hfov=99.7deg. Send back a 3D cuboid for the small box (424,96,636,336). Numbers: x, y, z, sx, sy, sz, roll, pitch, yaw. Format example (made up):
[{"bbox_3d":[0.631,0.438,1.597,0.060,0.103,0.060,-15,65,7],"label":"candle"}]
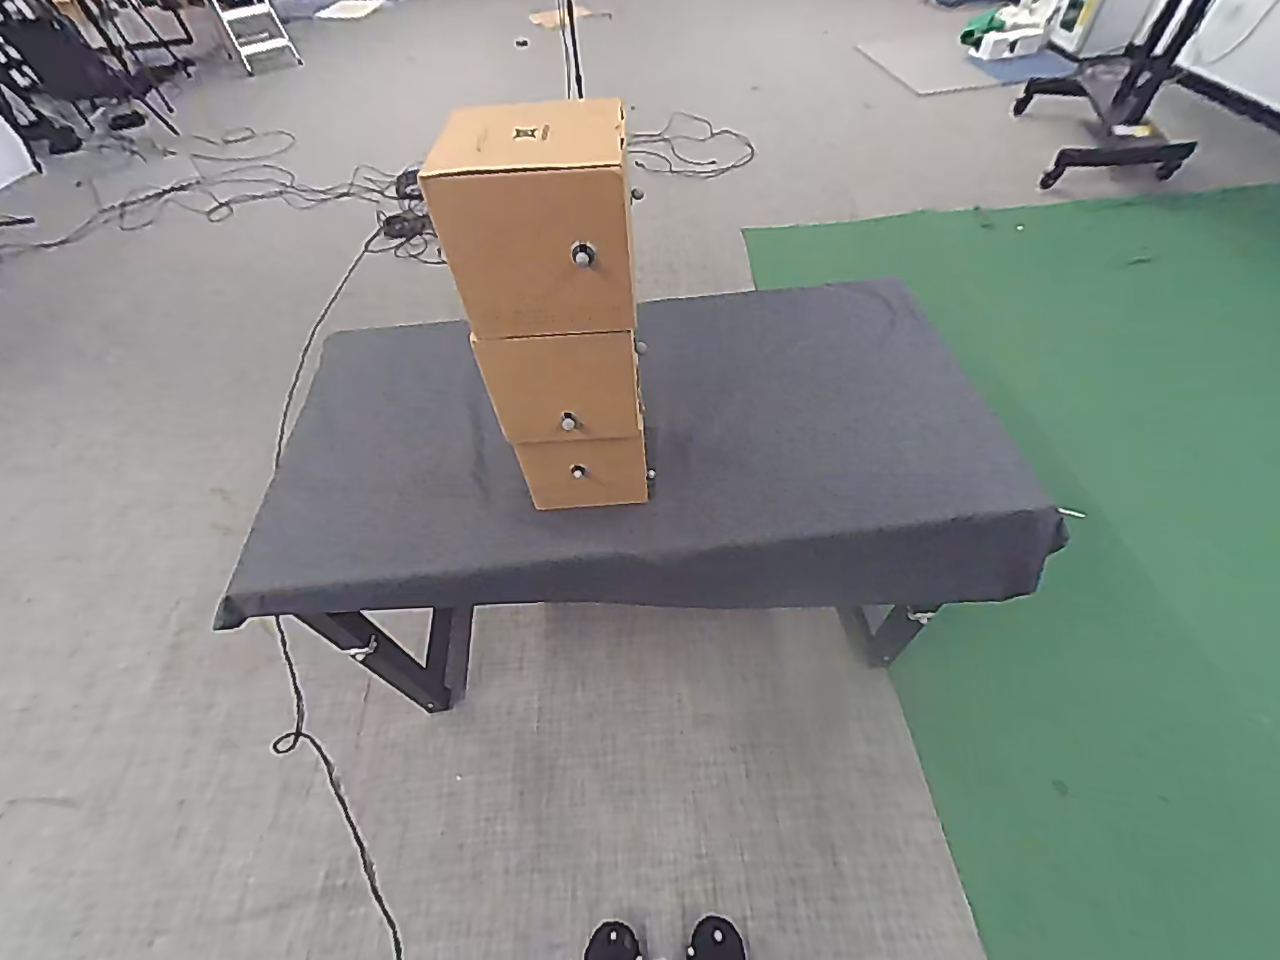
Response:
[{"bbox_3d":[-0.094,-0.269,0.565,0.179,0.176,0.168,-4,51,2],"label":"small box"}]

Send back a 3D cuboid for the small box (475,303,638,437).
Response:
[{"bbox_3d":[-0.092,-0.171,0.695,0.179,0.176,0.168,-3,52,1],"label":"small box"}]

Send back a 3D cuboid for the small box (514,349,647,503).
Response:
[{"bbox_3d":[-0.080,-0.079,0.829,0.179,0.176,0.168,-5,52,1],"label":"small box"}]
